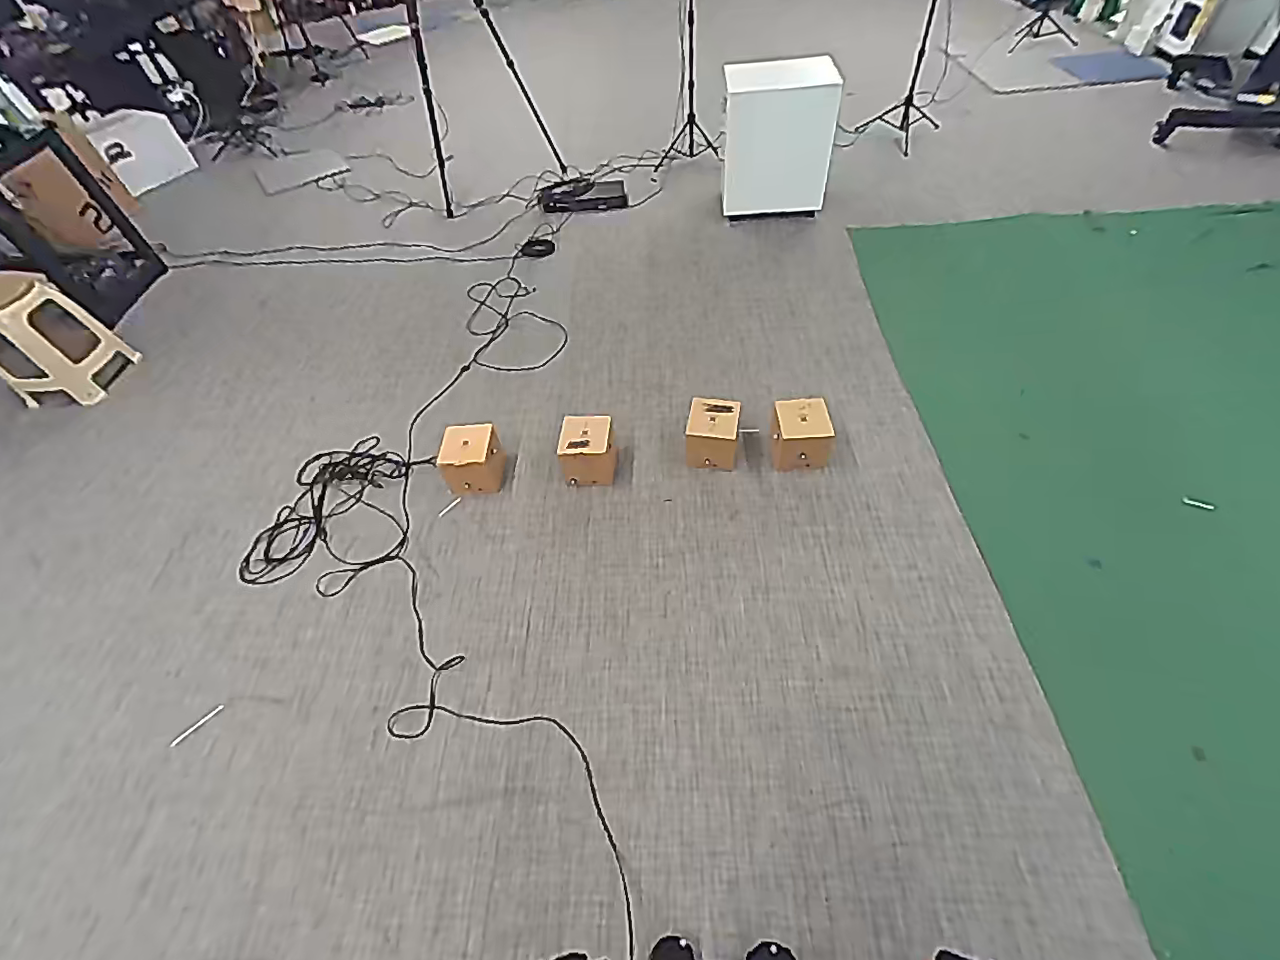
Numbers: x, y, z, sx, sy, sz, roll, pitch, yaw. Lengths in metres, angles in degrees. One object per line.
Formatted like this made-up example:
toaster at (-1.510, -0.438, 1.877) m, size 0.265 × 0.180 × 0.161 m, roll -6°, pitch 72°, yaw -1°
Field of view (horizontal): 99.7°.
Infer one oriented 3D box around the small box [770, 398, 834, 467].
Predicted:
small box at (0.544, -0.153, 1.834) m, size 0.168 × 0.176 × 0.179 m, roll -2°, pitch 52°, yaw 3°

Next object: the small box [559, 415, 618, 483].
small box at (-0.172, -0.104, 1.868) m, size 0.168 × 0.176 × 0.179 m, roll 0°, pitch 51°, yaw 7°

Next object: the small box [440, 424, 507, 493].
small box at (-0.573, -0.075, 1.891) m, size 0.168 × 0.176 × 0.179 m, roll -4°, pitch 52°, yaw 4°
